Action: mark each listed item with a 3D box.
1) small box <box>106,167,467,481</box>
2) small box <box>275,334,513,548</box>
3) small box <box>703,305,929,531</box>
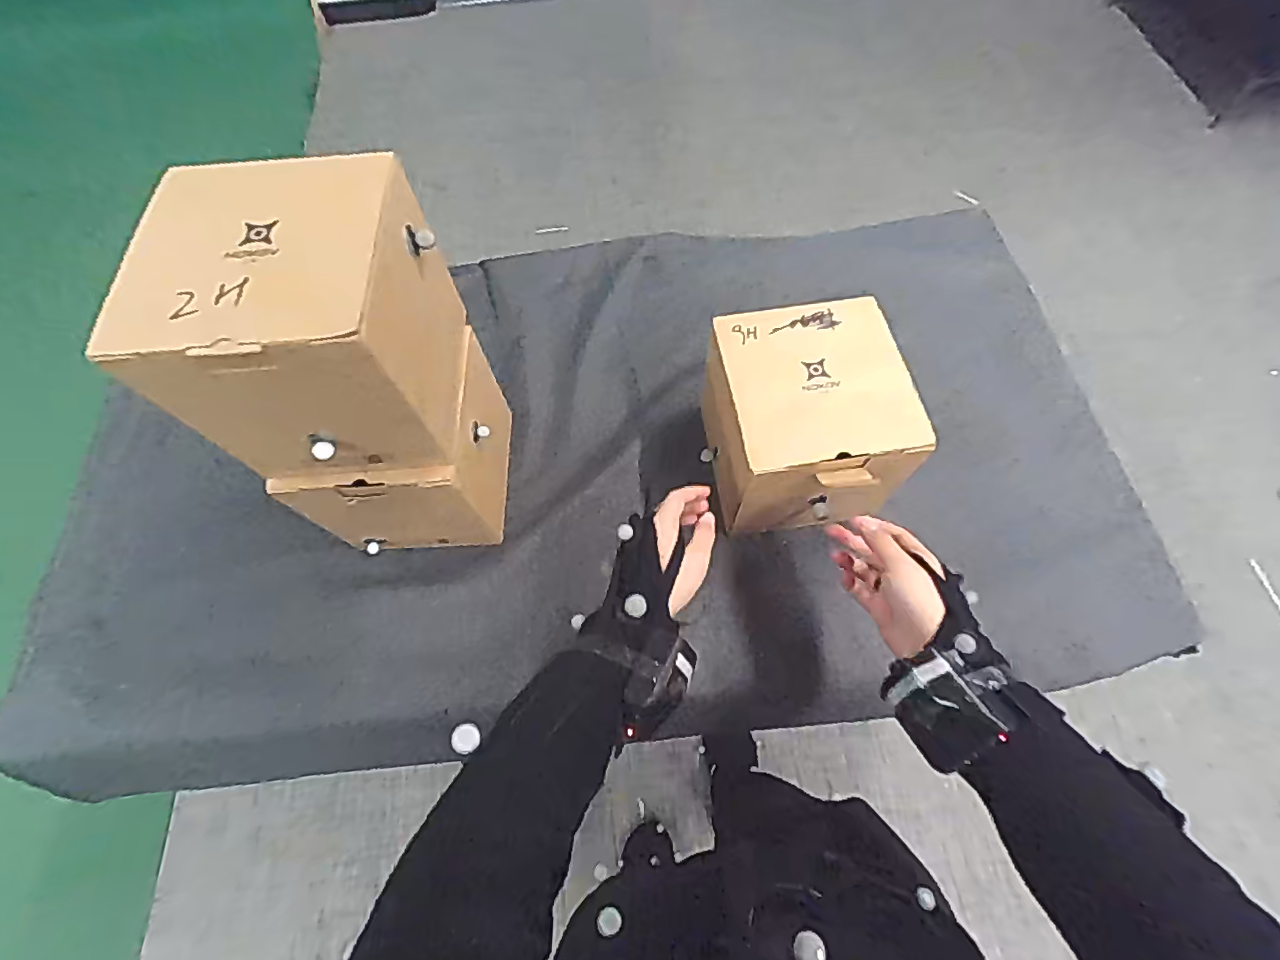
[{"bbox_3d":[-0.250,-0.117,0.440,0.168,0.176,0.179,-5,64,1],"label":"small box"},{"bbox_3d":[-0.241,-0.031,0.581,0.168,0.176,0.179,-3,63,1],"label":"small box"},{"bbox_3d":[0.165,-0.053,0.576,0.168,0.176,0.179,-8,65,-2],"label":"small box"}]
